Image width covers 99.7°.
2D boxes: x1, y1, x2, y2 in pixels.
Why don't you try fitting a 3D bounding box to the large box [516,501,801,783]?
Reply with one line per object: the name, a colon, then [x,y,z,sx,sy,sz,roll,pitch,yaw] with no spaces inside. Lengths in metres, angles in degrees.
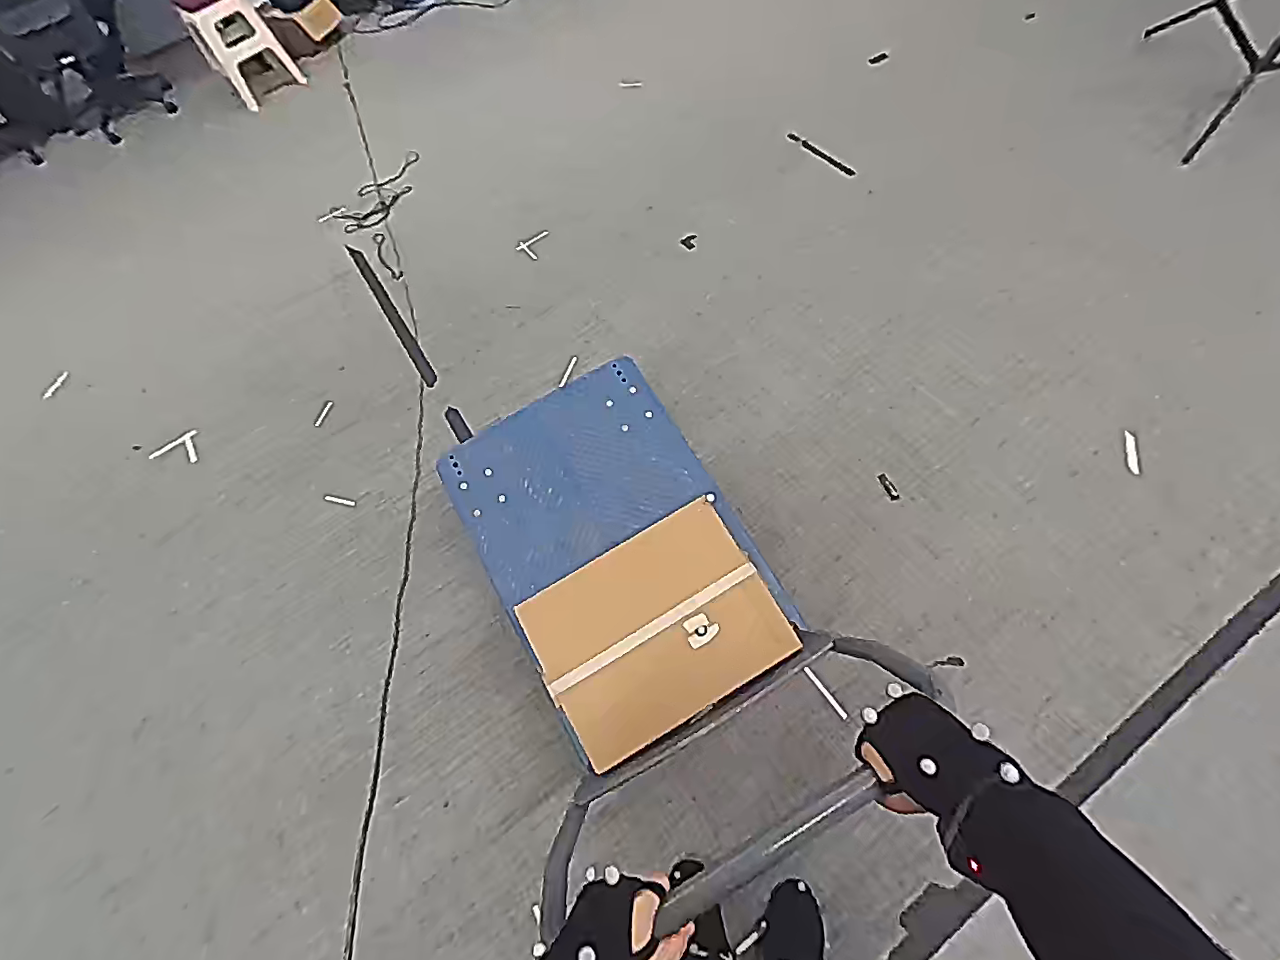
large box: [0.034,0.306,1.062,0.408,0.320,0.320,-30,74,-6]
